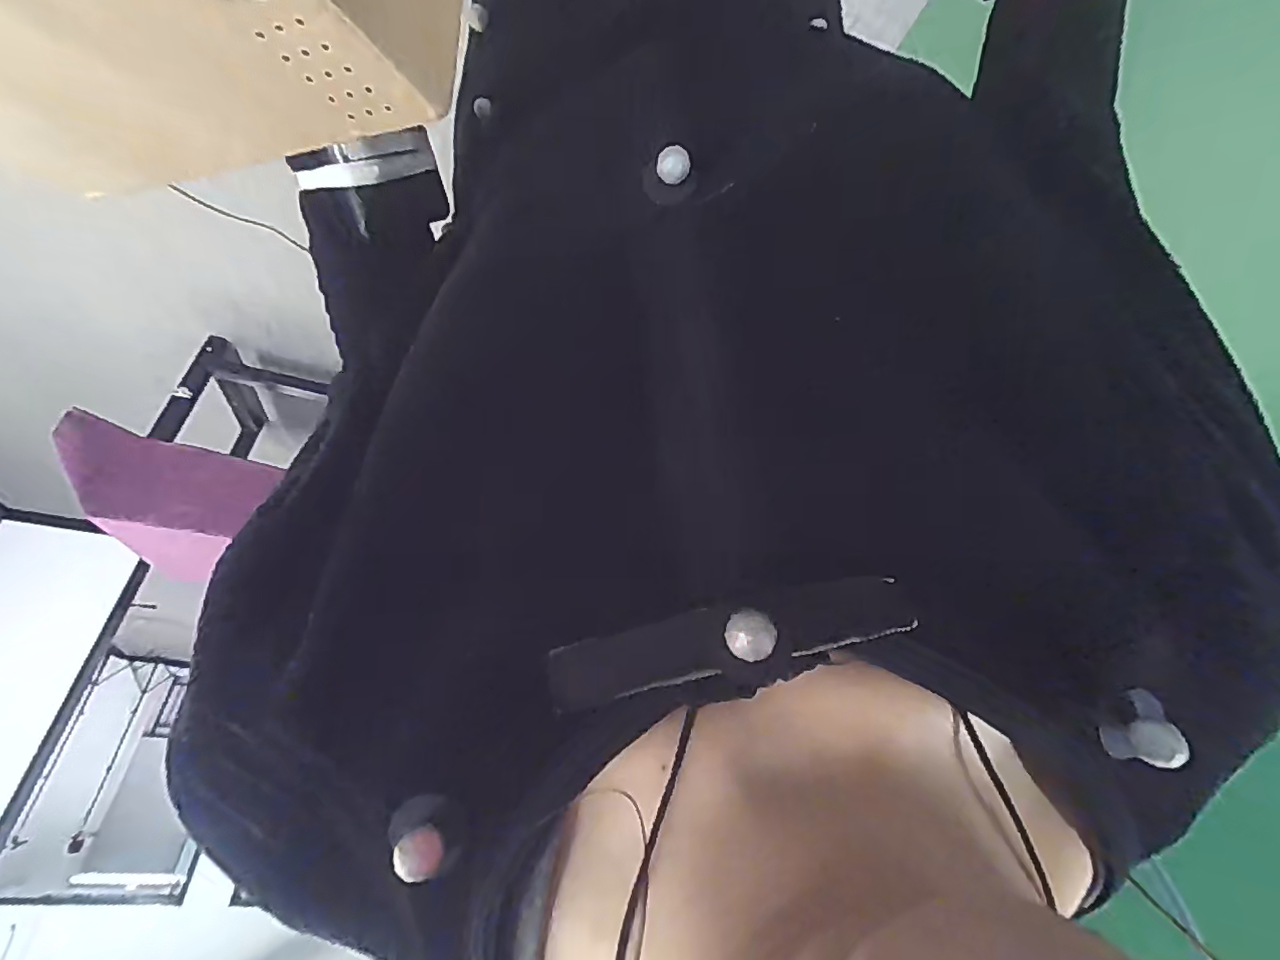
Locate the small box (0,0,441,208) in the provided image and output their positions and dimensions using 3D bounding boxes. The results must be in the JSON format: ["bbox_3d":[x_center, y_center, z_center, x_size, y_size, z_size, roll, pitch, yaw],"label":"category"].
[{"bbox_3d":[-0.156,-0.195,0.116,0.176,0.179,0.168,3,175,19],"label":"small box"}]
